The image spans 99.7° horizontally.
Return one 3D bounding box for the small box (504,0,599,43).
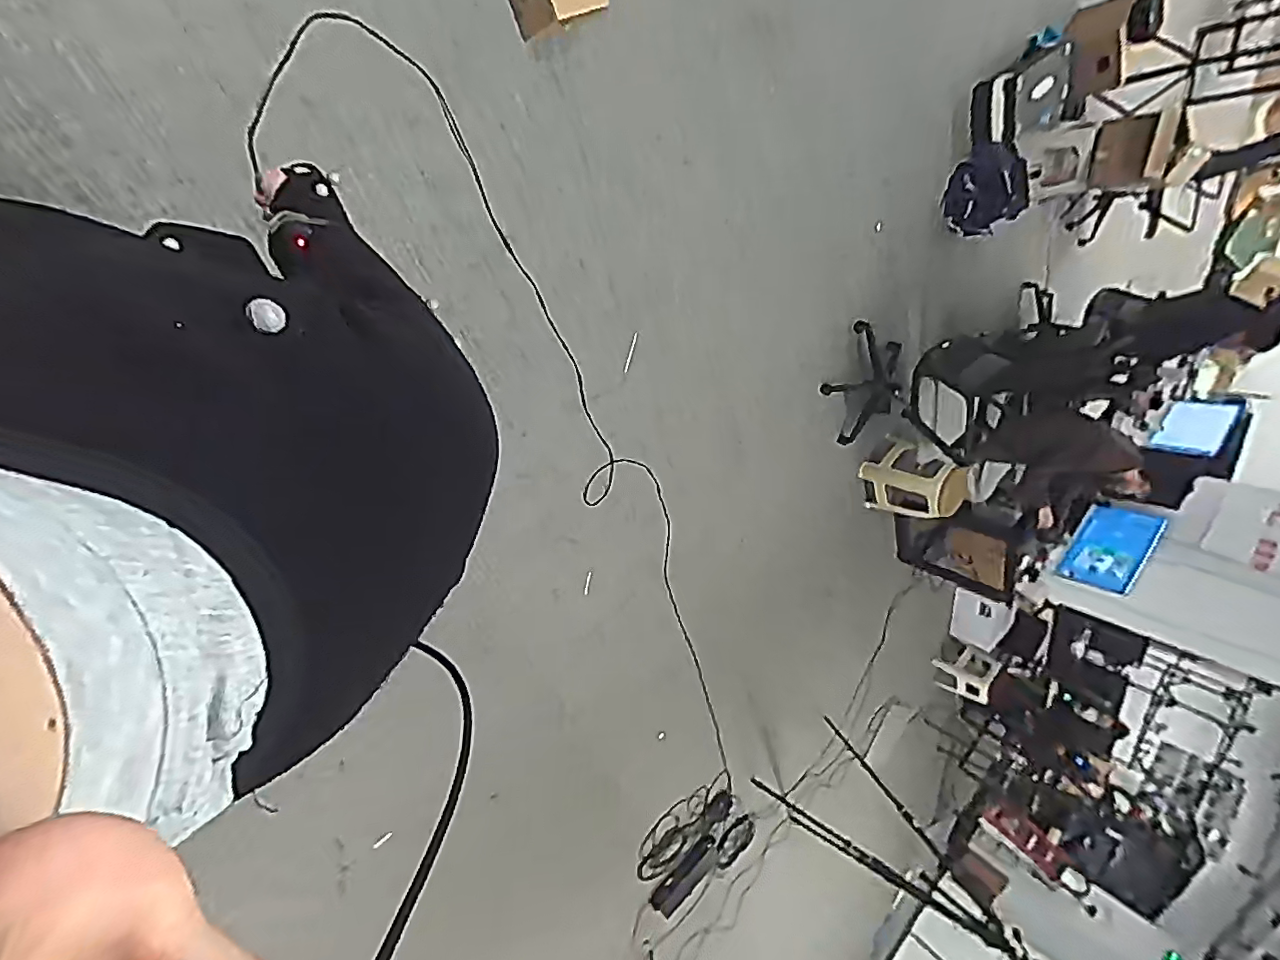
[{"bbox_3d":[-0.240,-1.245,1.365,0.179,0.176,0.168,-39,126,-23],"label":"small box"}]
